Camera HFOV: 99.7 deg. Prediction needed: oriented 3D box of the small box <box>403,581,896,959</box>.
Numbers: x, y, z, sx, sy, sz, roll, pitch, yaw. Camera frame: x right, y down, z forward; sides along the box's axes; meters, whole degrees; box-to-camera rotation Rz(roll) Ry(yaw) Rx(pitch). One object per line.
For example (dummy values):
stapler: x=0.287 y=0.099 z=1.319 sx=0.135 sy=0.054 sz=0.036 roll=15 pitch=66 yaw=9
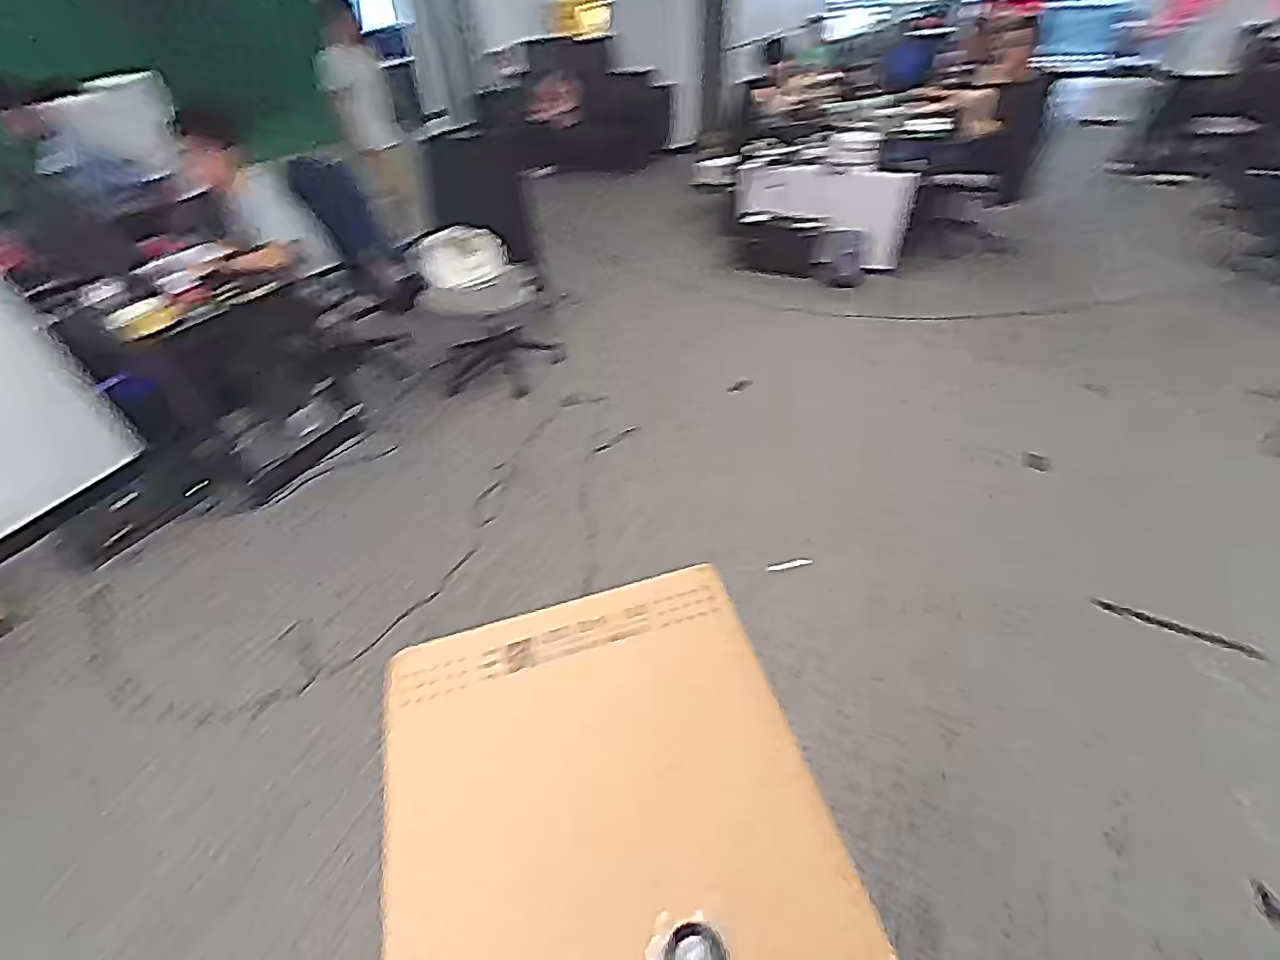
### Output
small box: x=-0.009 y=0.178 z=0.278 sx=0.168 sy=0.179 sz=0.176 roll=-14 pitch=50 yaw=-10
